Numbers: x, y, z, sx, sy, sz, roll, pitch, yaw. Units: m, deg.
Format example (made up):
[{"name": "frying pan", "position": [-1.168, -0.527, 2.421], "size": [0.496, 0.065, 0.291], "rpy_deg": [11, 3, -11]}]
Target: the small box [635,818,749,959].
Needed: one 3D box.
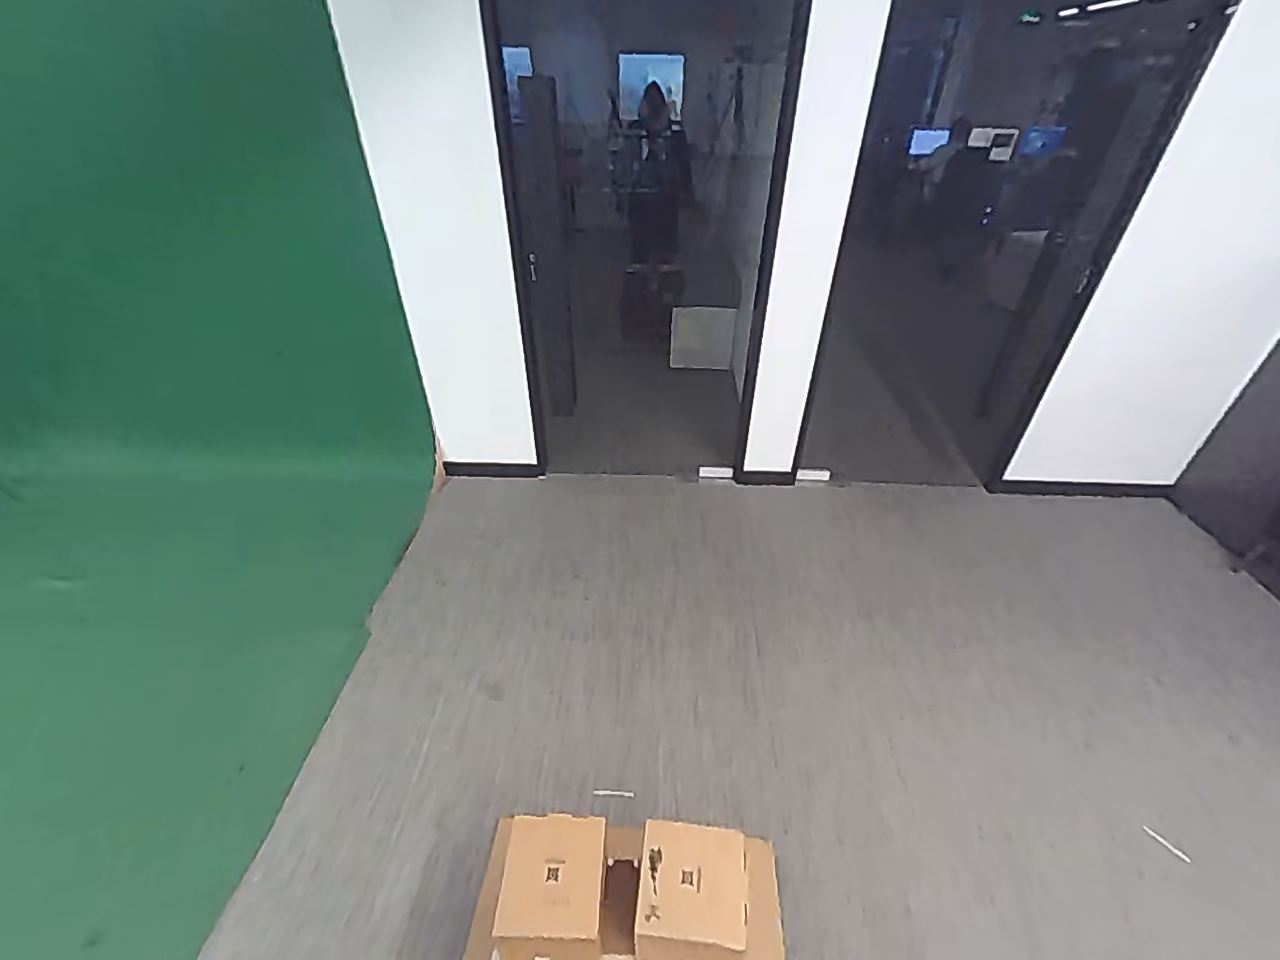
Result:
[{"name": "small box", "position": [0.089, 0.719, 0.934], "size": [0.179, 0.176, 0.168], "rpy_deg": [4, 36, 6]}]

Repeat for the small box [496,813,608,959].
[{"name": "small box", "position": [-0.142, 0.713, 0.944], "size": [0.168, 0.176, 0.179], "rpy_deg": [0, 36, 0]}]
